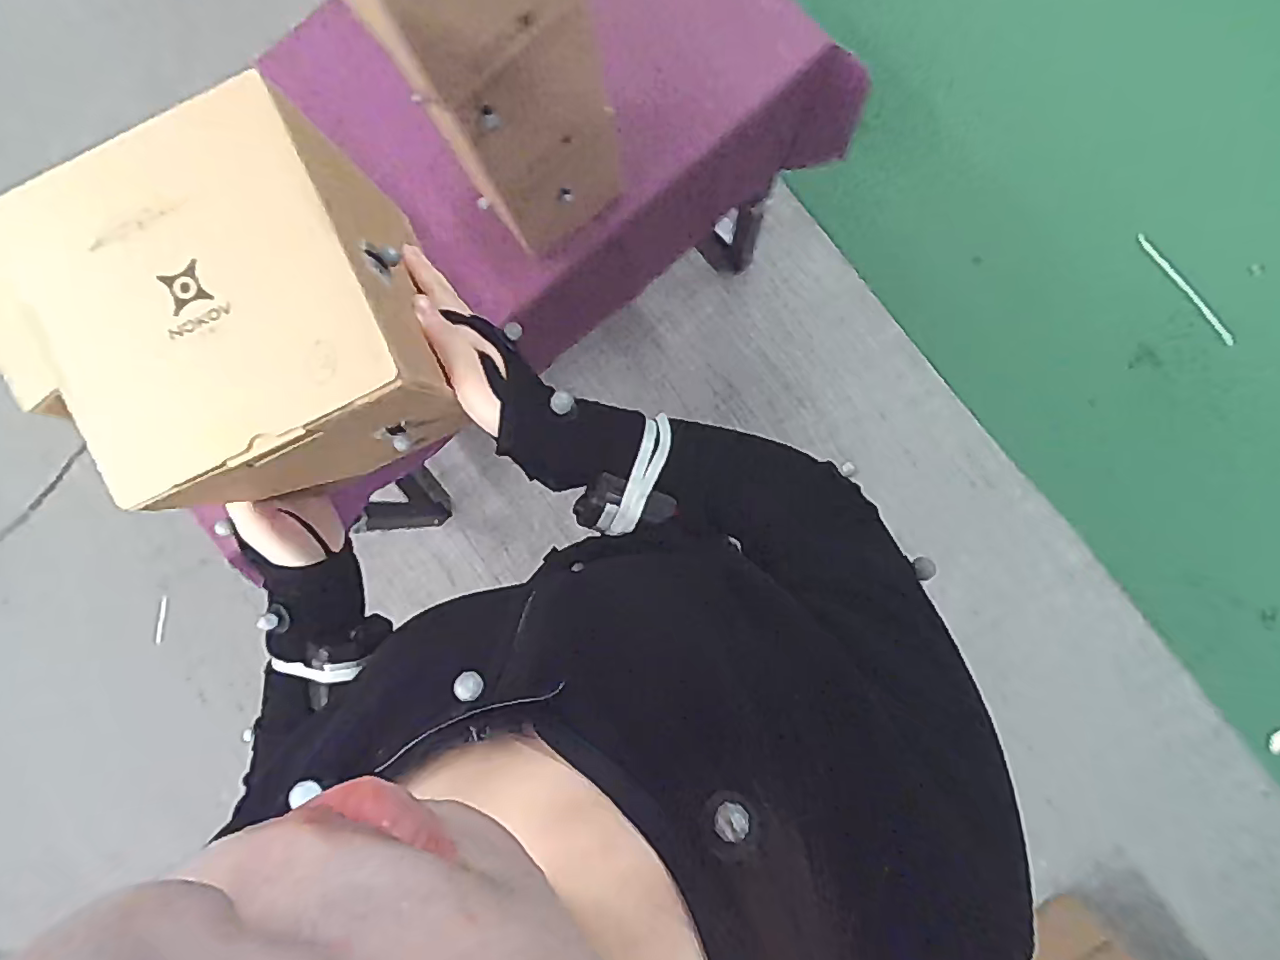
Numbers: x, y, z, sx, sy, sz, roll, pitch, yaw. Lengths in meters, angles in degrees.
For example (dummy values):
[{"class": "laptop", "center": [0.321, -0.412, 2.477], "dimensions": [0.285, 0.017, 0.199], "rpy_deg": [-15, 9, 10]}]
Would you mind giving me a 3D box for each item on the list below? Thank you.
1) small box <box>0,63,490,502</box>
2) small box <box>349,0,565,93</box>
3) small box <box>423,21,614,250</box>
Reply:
[{"class": "small box", "center": [-0.222, -0.102, 0.354], "dimensions": [0.168, 0.176, 0.179], "rpy_deg": [-23, 92, 2]}, {"class": "small box", "center": [-0.177, -0.455, 0.408], "dimensions": [0.168, 0.176, 0.179], "rpy_deg": [-40, 84, 2]}, {"class": "small box", "center": [-0.149, -0.459, 0.737], "dimensions": [0.179, 0.176, 0.168], "rpy_deg": [-38, 85, 2]}]
